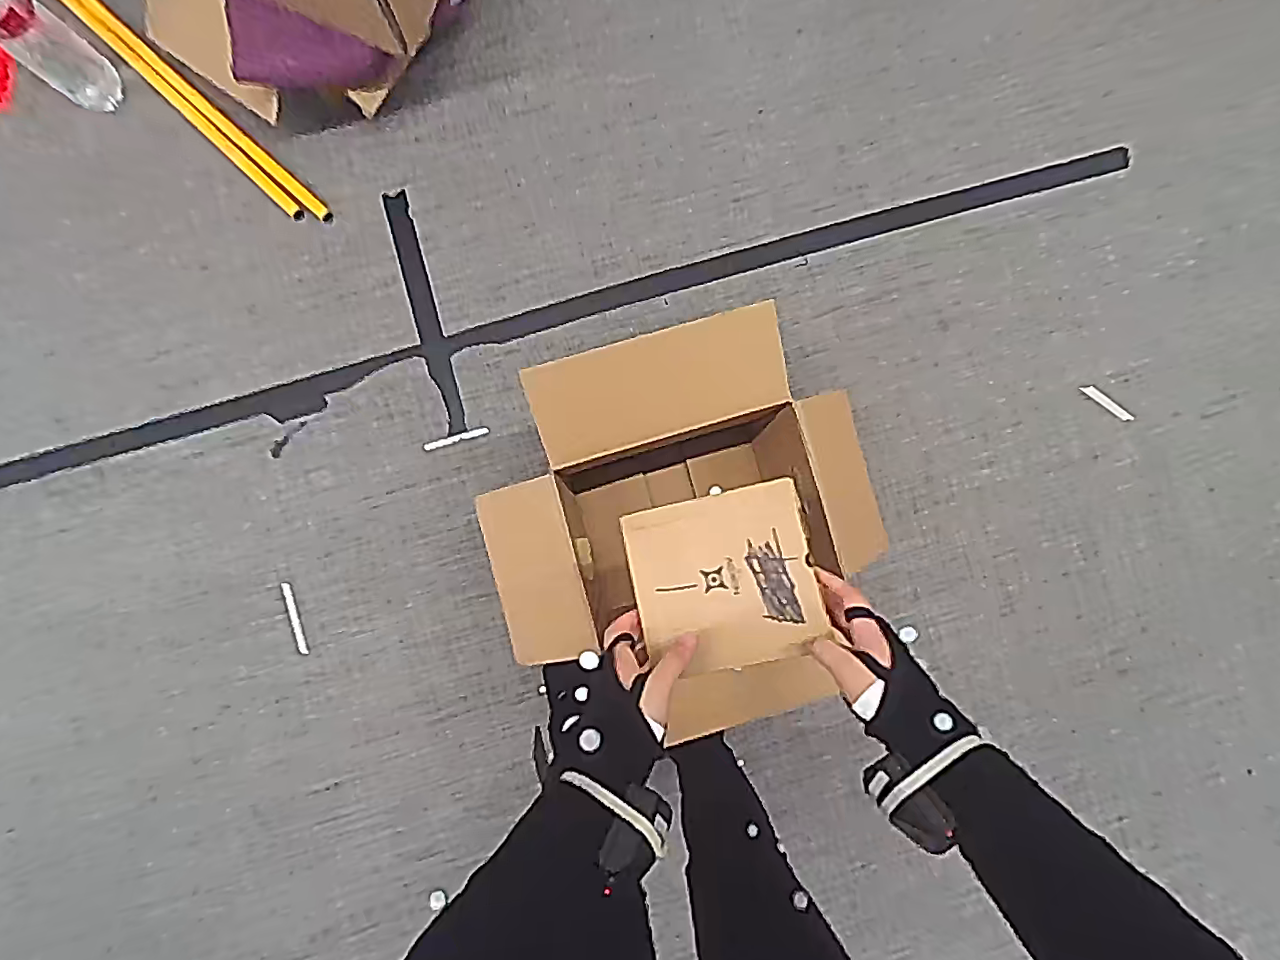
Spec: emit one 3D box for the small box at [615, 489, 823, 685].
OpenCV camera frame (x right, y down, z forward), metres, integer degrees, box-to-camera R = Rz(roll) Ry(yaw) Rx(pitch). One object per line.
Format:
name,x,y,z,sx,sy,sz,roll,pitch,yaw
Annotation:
small box,0.086,0.116,0.607,0.179,0.176,0.168,-14,79,8
